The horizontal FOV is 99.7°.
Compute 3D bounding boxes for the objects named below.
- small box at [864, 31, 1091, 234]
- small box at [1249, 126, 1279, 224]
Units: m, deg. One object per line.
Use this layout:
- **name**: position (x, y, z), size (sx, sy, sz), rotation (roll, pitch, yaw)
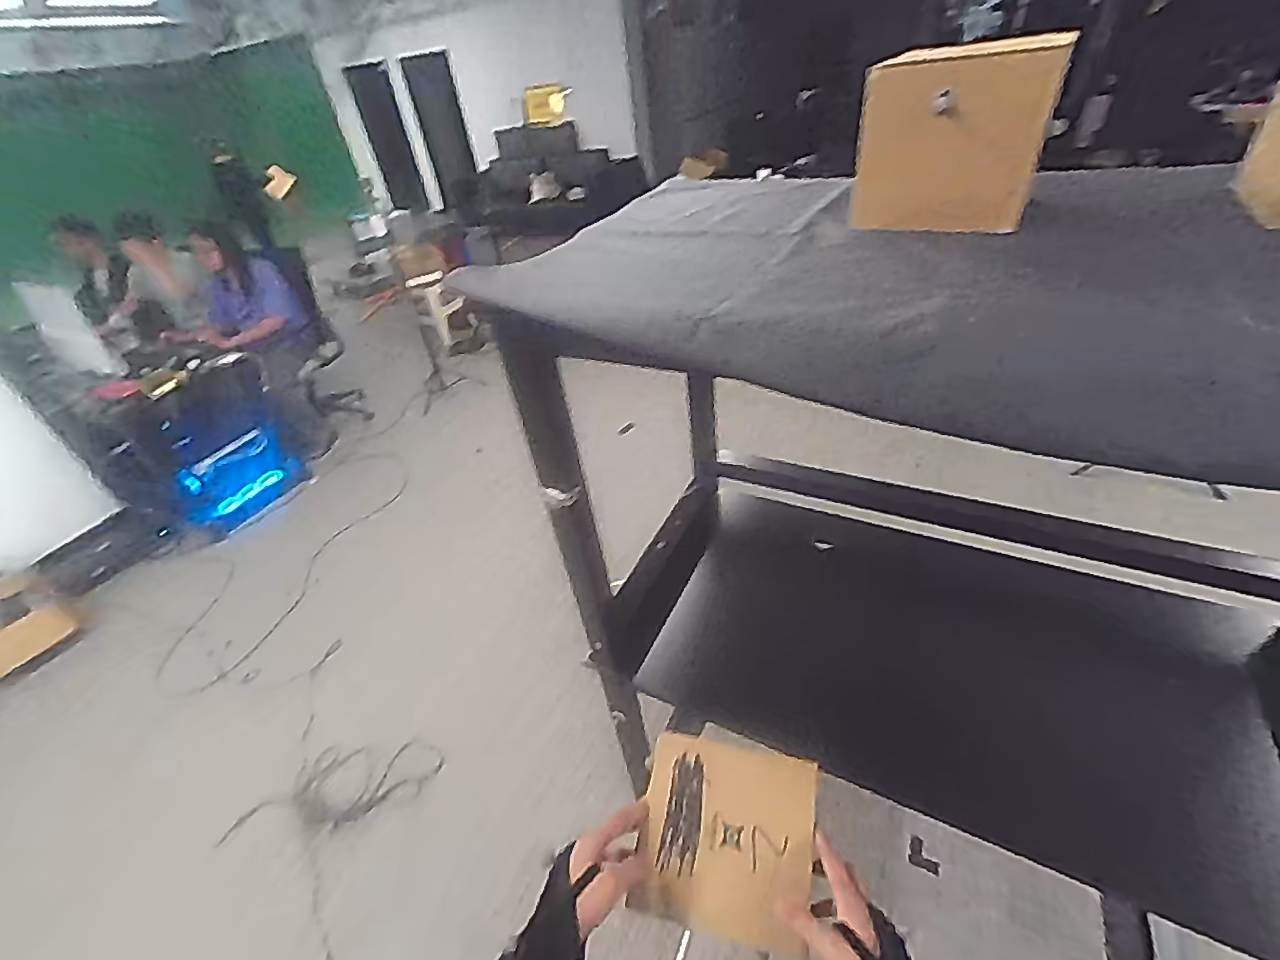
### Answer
- **small box**: position (0.380, -0.395, 0.627), size (0.179, 0.176, 0.168), rotation (18, 45, 30)
- **small box**: position (0.708, -0.326, 0.477), size (0.168, 0.176, 0.179), rotation (17, 44, 28)
